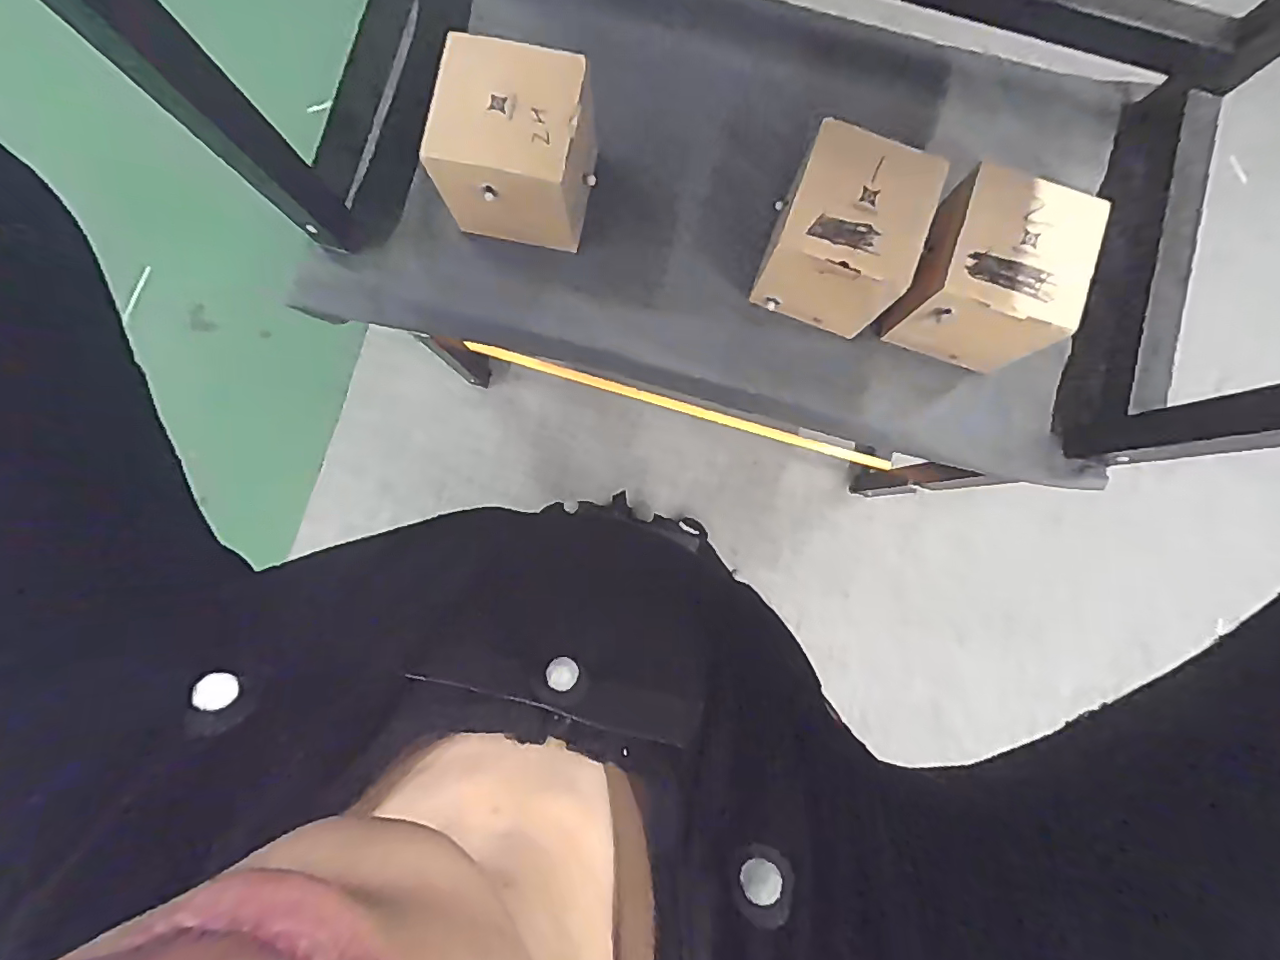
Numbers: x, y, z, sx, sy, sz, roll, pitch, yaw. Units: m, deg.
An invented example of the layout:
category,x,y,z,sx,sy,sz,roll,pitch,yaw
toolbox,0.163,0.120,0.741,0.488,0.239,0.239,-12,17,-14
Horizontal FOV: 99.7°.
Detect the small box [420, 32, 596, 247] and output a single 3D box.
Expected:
category,x,y,z,sx,sy,sz,roll,pitch,yaw
small box,-0.163,-0.441,0.728,0.179,0.176,0.168,11,86,-1
